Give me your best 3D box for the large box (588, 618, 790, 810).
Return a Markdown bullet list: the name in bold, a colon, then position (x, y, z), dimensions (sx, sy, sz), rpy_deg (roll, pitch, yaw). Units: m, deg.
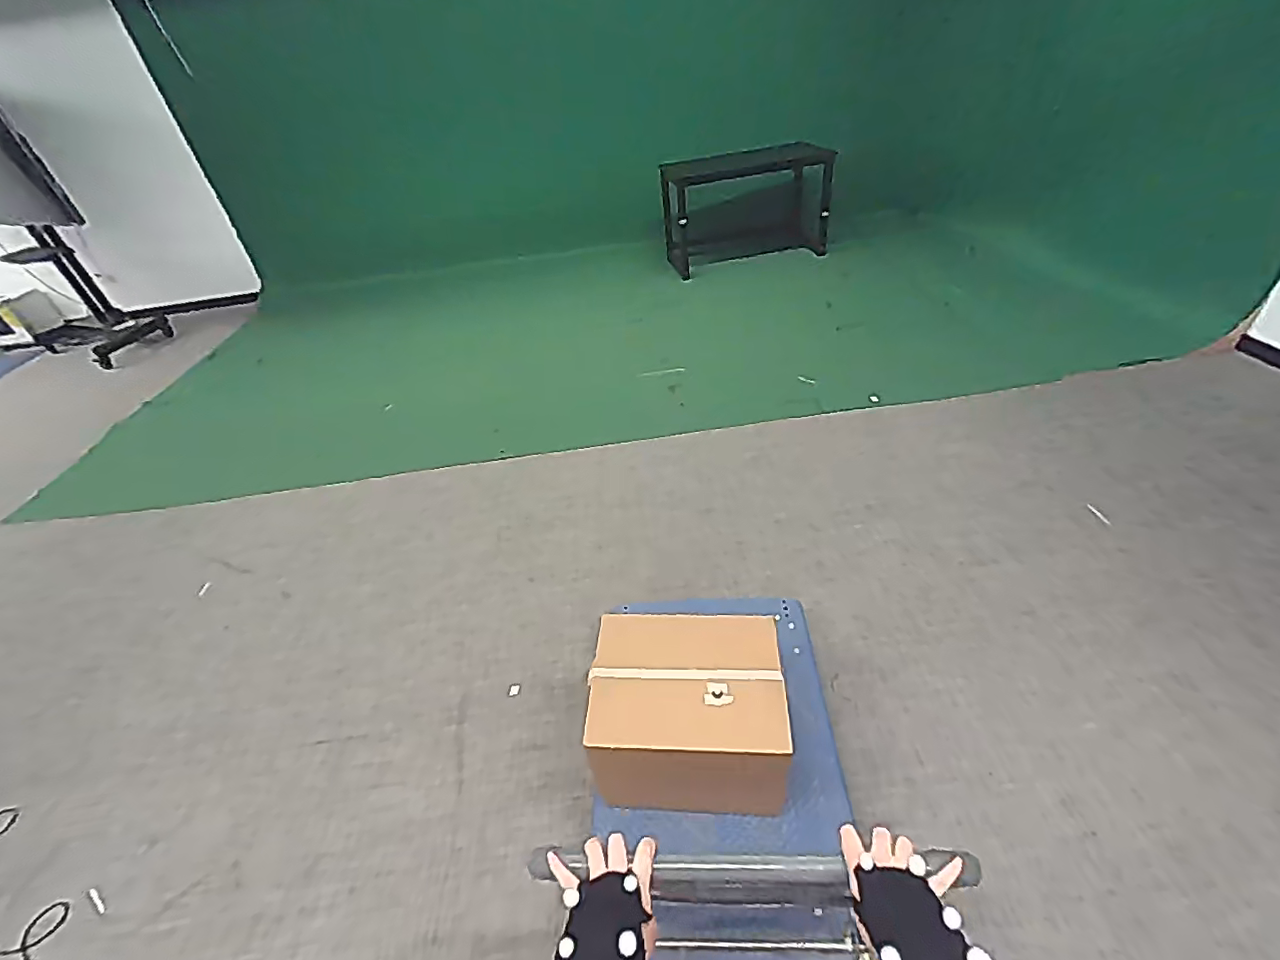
- **large box**: position (0.110, 0.541, 1.260), dimensions (0.408, 0.320, 0.320), rpy_deg (-1, 39, 6)
